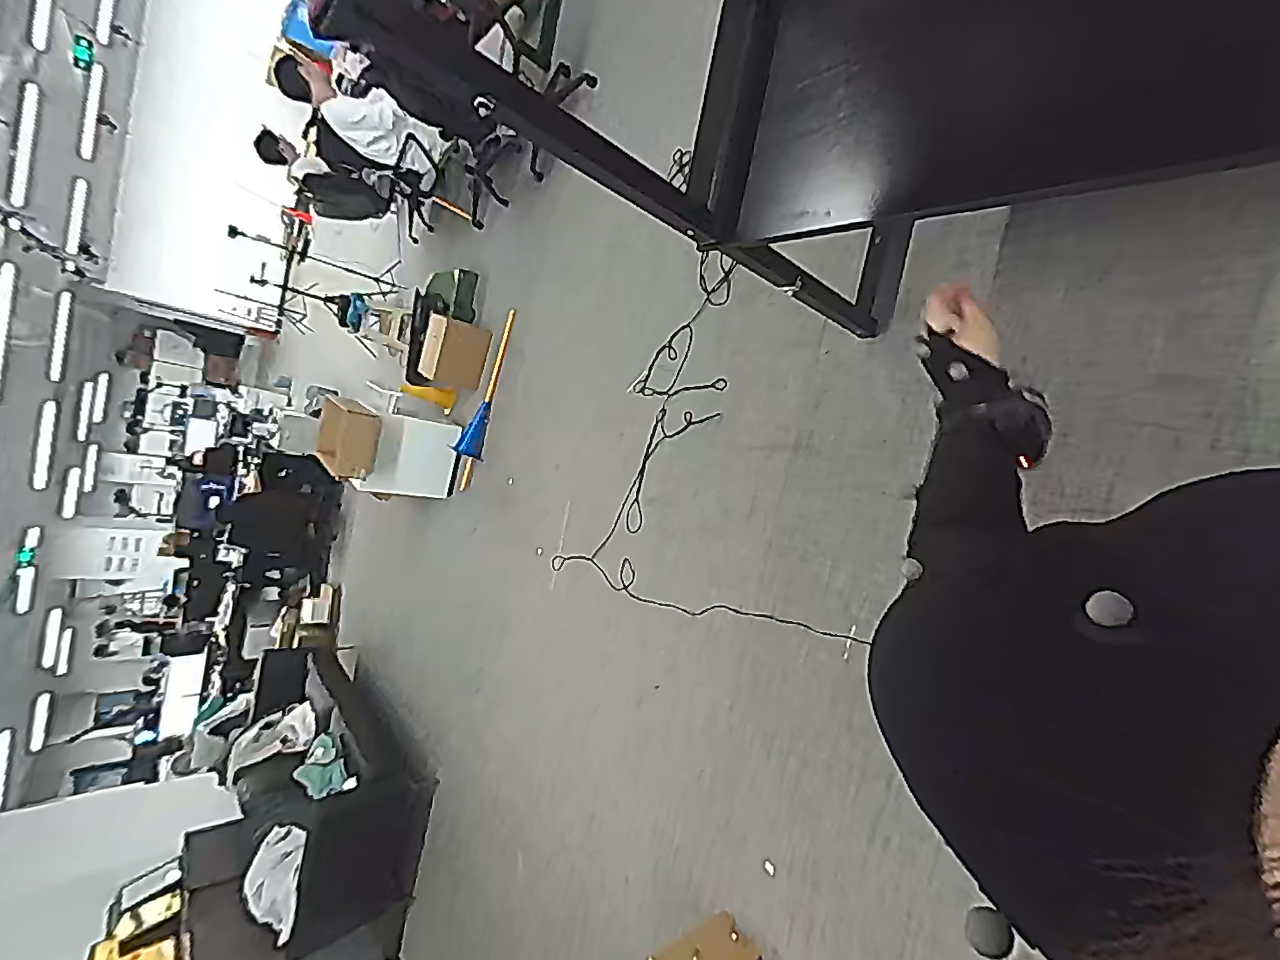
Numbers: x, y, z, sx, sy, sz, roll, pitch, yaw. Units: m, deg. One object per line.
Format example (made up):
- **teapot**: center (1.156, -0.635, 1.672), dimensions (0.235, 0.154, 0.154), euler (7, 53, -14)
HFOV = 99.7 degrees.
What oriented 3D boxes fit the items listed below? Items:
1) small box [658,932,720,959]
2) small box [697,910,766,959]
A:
- **small box**: center (0.144, 1.497, 1.583), dimensions (0.168, 0.176, 0.179), euler (23, 101, 46)
- **small box**: center (0.268, 1.512, 1.691), dimensions (0.168, 0.176, 0.179), euler (26, 102, 47)
